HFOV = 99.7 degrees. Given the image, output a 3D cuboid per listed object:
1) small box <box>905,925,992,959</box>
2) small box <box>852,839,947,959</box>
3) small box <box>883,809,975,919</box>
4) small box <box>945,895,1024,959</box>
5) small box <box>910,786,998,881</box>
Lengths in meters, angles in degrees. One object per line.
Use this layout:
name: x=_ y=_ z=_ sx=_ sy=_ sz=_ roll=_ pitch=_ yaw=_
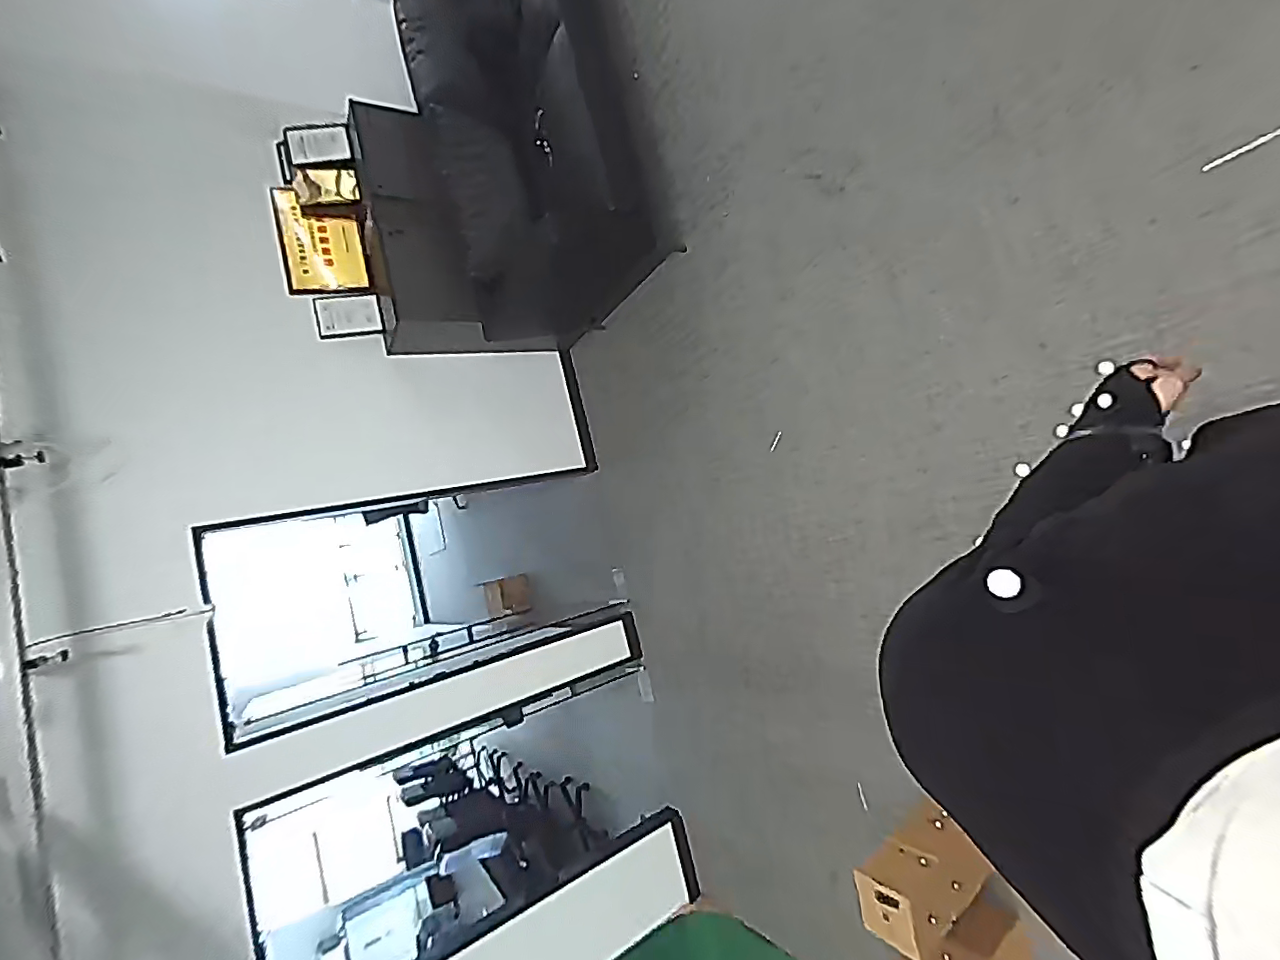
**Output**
small box: x=0.916 y=1.457 z=1.583 sx=0.179 sy=0.176 sz=0.168 roll=-12 pitch=87 yaw=58
small box: x=0.722 y=1.153 z=1.506 sx=0.168 sy=0.176 sz=0.179 roll=-10 pitch=90 yaw=57
small box: x=0.856 y=1.122 z=1.595 sx=0.168 sy=0.176 sz=0.179 roll=-14 pitch=86 yaw=57
small box: x=1.055 y=1.439 z=1.672 sx=0.179 sy=0.176 sz=0.168 roll=-14 pitch=86 yaw=58
small box: x=0.986 y=1.103 z=1.693 sx=0.168 sy=0.176 sz=0.179 roll=-18 pitch=84 yaw=57
